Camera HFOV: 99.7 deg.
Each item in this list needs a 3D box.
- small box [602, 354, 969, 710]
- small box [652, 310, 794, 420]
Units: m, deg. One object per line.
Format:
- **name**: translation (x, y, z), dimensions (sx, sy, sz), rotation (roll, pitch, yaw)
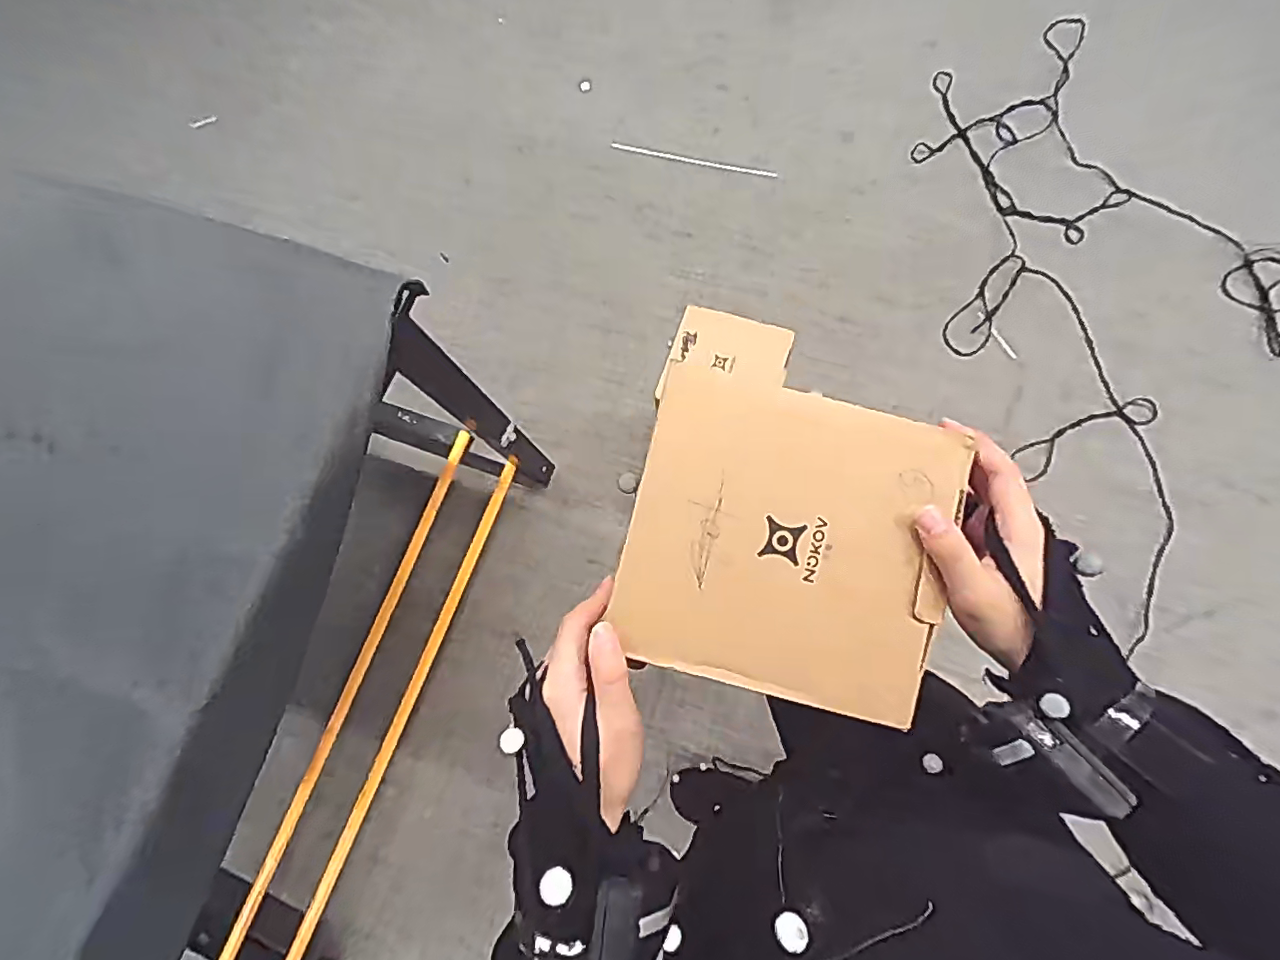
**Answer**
- **small box**: translation (0.082, 0.032, 0.380), dimensions (0.179, 0.176, 0.168), rotation (14, 85, 2)
- **small box**: translation (0.132, -0.145, 0.895), dimensions (0.179, 0.176, 0.168), rotation (19, 77, 9)
